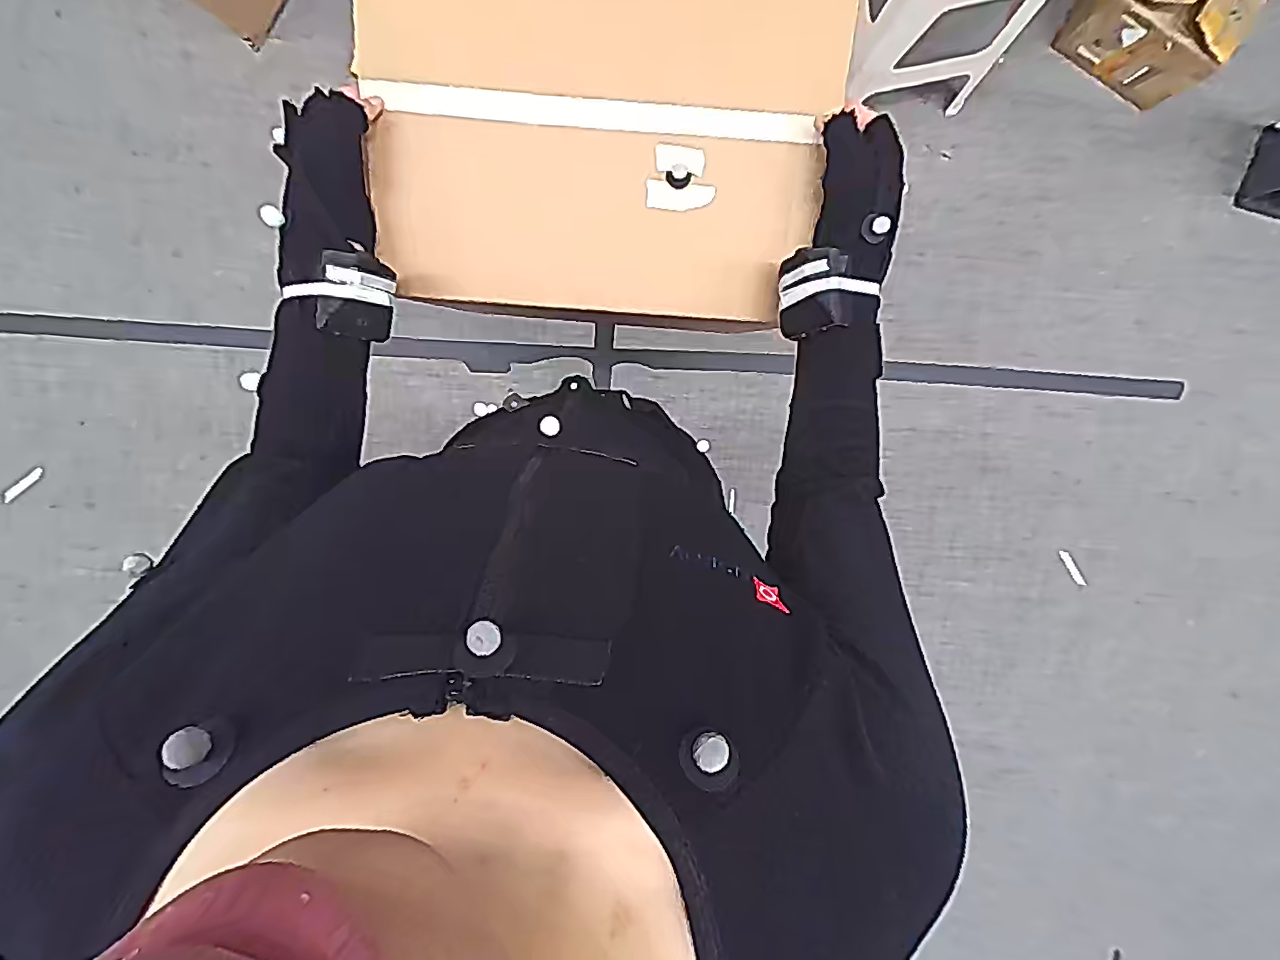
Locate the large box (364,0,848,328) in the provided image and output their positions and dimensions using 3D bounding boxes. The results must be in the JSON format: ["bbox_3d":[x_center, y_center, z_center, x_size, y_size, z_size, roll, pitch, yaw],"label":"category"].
[{"bbox_3d":[-0.037,-0.346,0.606,0.408,0.320,0.320,3,104,-3],"label":"large box"}]
